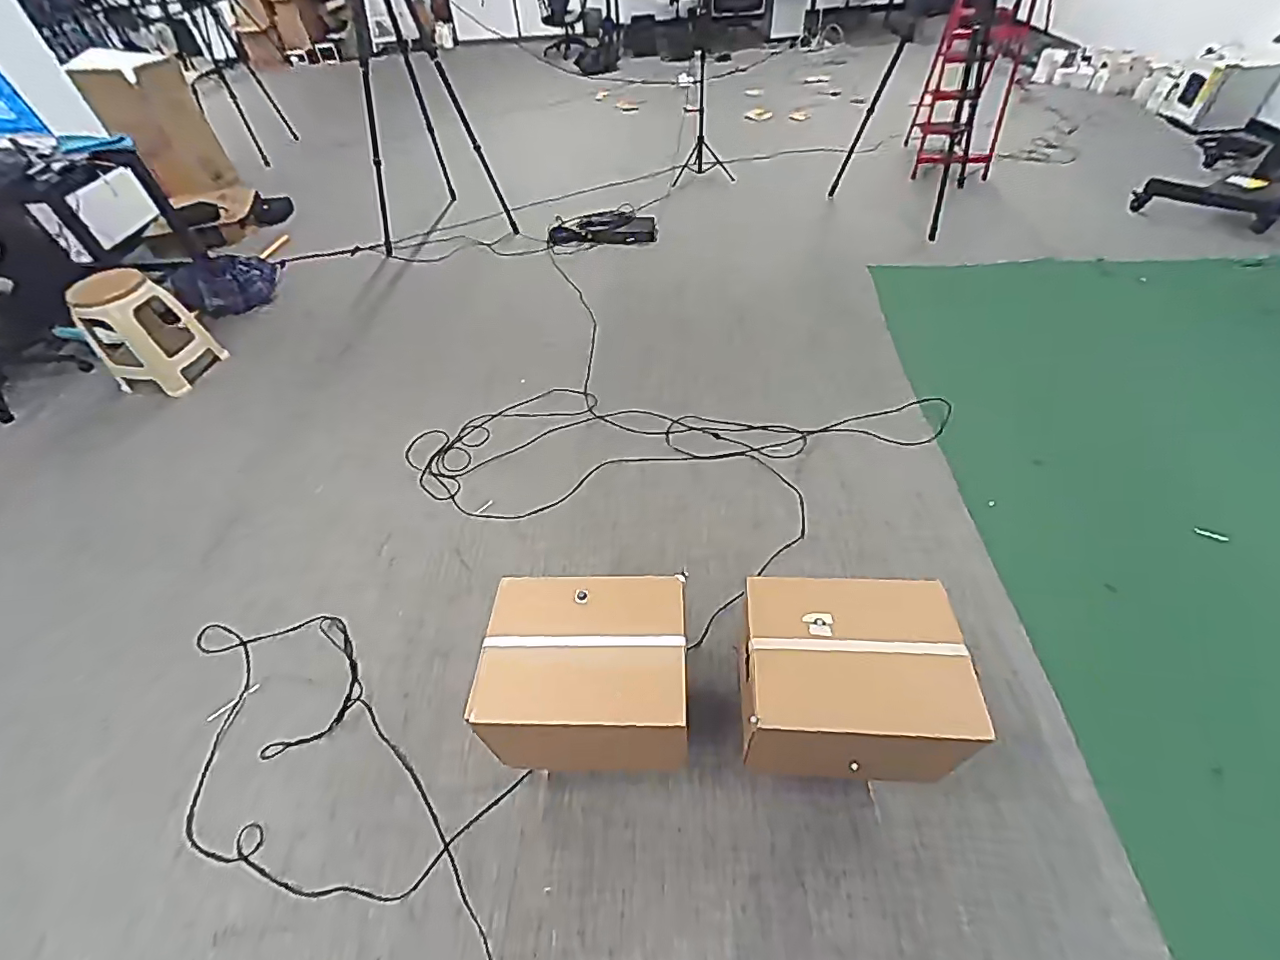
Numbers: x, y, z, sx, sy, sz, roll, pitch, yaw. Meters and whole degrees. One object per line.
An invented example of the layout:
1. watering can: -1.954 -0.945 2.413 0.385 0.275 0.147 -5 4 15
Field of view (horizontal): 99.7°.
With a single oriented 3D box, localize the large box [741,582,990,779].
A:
1. large box: 0.434 0.433 1.163 0.408 0.320 0.320 0 48 6
